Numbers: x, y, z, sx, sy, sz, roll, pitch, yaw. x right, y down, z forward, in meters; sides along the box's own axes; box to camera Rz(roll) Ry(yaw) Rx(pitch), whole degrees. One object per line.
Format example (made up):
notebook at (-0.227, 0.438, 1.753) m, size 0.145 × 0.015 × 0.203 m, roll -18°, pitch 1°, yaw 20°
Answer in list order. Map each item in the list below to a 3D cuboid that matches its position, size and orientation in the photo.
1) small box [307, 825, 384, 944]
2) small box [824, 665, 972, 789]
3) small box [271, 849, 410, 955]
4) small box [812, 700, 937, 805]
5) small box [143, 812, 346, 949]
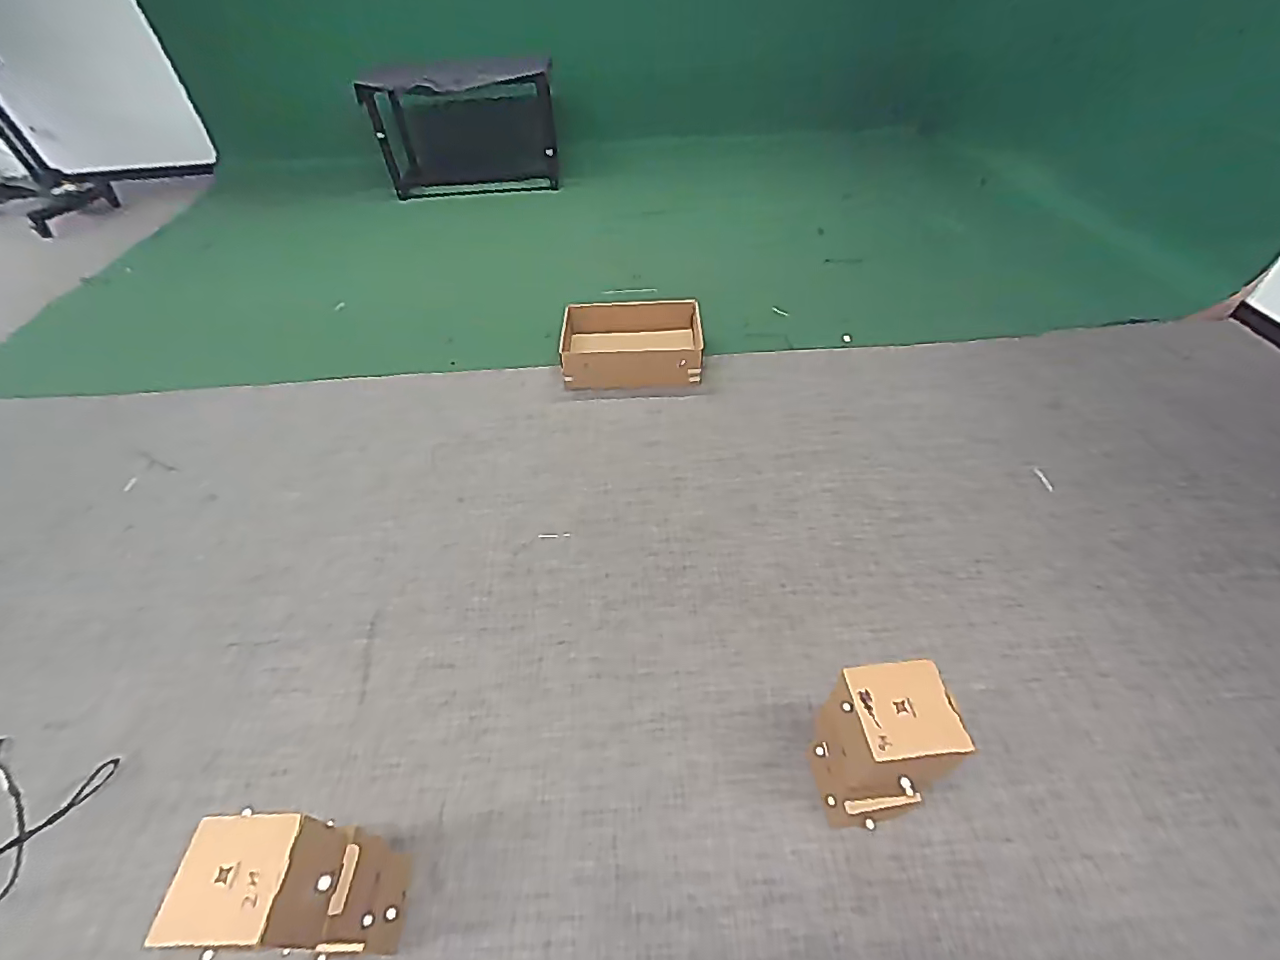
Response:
small box at (-0.616, 0.761, 1.017) m, size 0.179 × 0.176 × 0.168 m, roll -3°, pitch 47°, yaw 2°
small box at (0.473, 0.468, 1.022) m, size 0.179 × 0.176 × 0.168 m, roll -4°, pitch 47°, yaw -2°
small box at (-0.608, 0.880, 1.130) m, size 0.179 × 0.176 × 0.168 m, roll -3°, pitch 47°, yaw 1°
small box at (0.484, 0.574, 1.147) m, size 0.179 × 0.176 × 0.168 m, roll -5°, pitch 47°, yaw -1°
small box at (-0.628, 0.659, 0.888) m, size 0.179 × 0.176 × 0.168 m, roll -2°, pitch 48°, yaw 2°
